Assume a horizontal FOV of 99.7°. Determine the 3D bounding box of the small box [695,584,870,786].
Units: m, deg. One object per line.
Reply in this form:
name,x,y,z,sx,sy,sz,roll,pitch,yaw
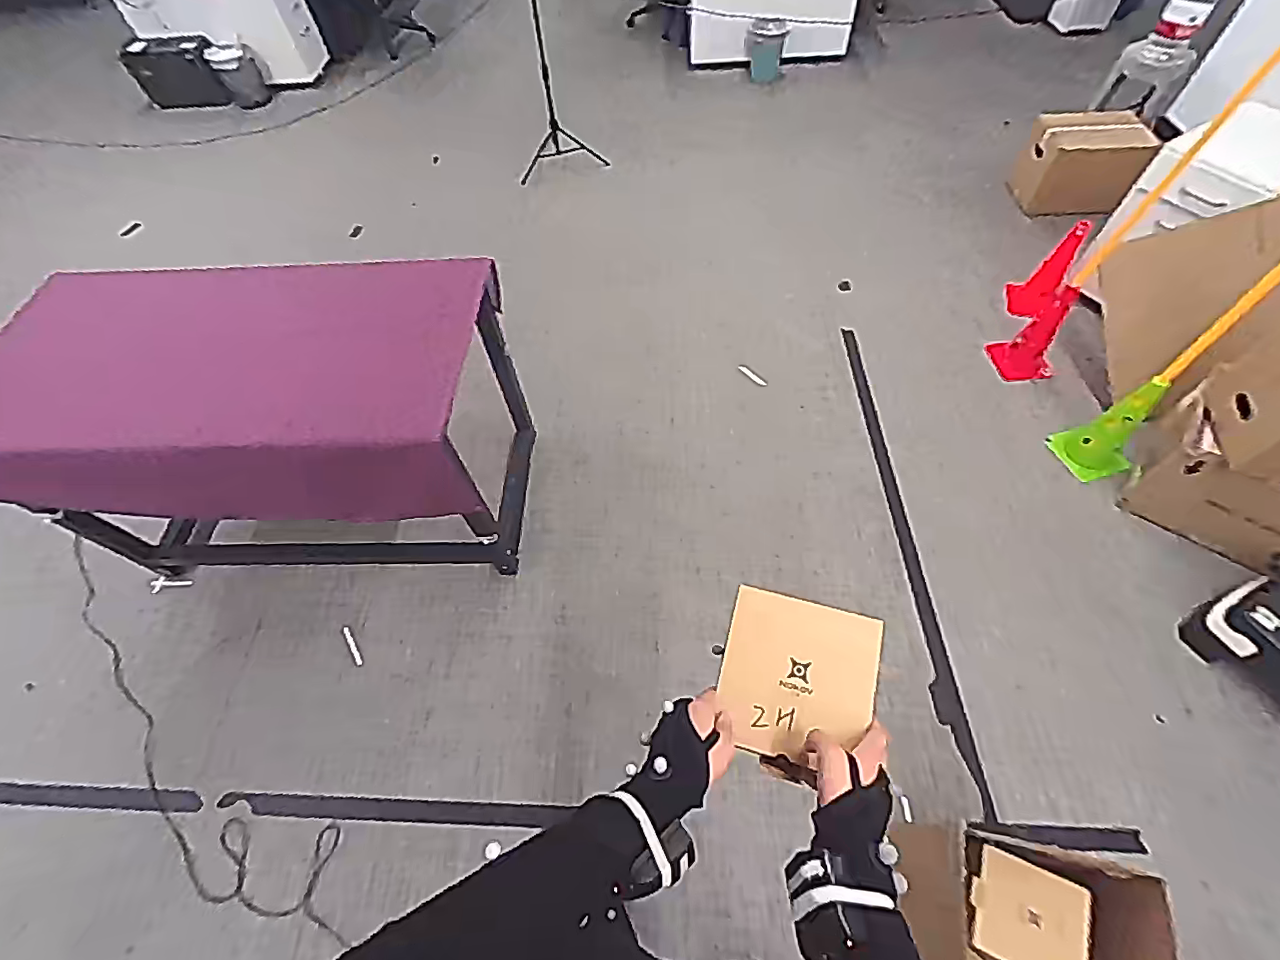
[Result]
small box,0.168,0.250,0.669,0.168,0.176,0.179,13,68,13
